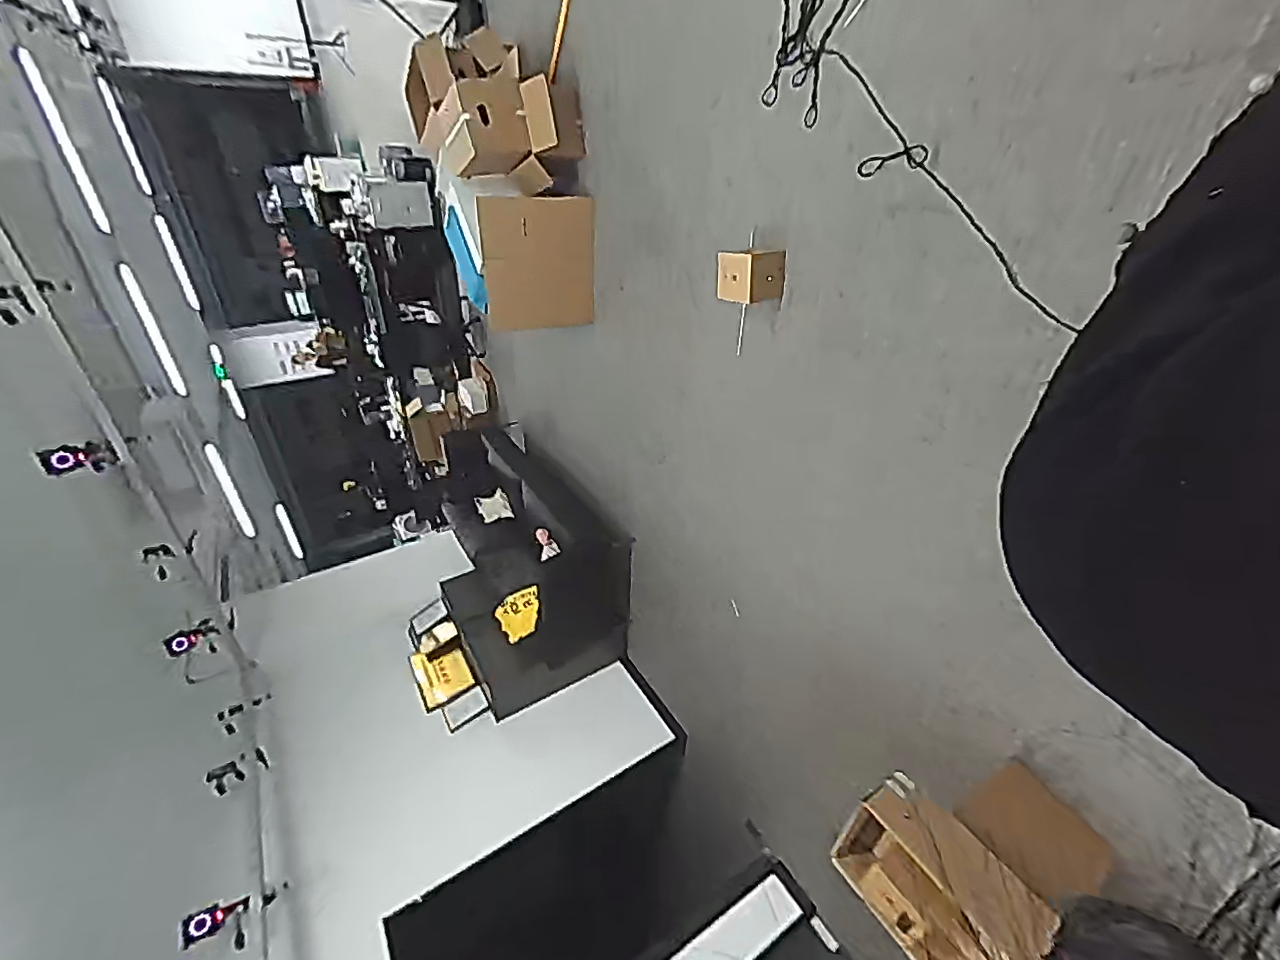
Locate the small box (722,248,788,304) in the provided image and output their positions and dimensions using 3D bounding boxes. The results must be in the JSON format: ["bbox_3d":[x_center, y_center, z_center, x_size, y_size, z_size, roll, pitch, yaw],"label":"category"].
[{"bbox_3d":[0.418,-0.745,1.965,0.179,0.176,0.168,35,136,50],"label":"small box"}]
